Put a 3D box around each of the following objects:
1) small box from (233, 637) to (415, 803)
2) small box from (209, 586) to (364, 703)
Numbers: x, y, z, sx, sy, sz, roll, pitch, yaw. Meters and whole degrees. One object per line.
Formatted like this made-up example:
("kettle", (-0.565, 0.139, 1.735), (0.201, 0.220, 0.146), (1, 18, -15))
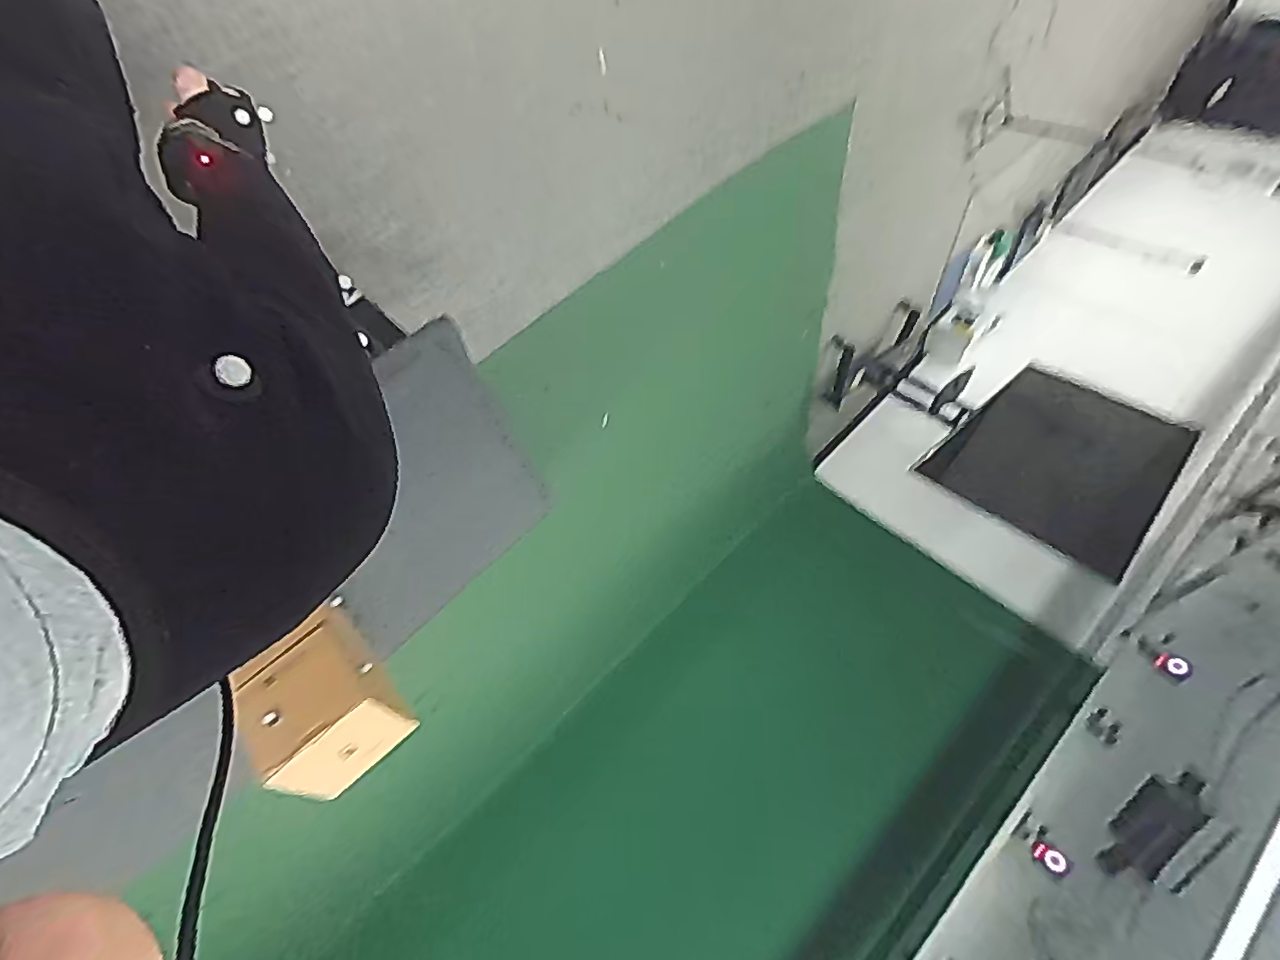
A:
("small box", (-0.514, 0.387, 0.885), (0.168, 0.176, 0.179), (-39, 148, -18))
("small box", (-0.629, 0.319, 0.981), (0.168, 0.176, 0.179), (-37, 146, -24))
